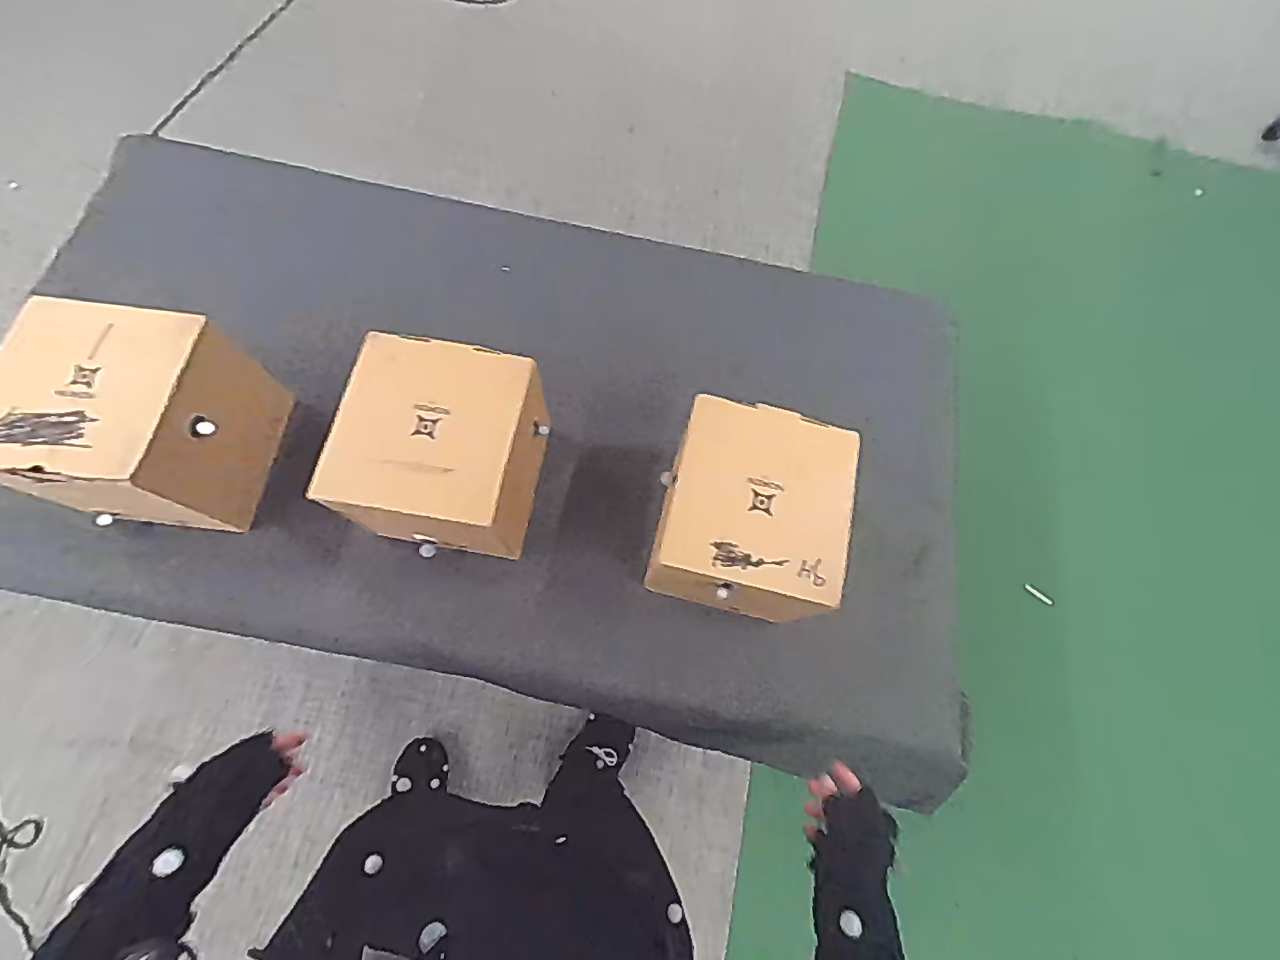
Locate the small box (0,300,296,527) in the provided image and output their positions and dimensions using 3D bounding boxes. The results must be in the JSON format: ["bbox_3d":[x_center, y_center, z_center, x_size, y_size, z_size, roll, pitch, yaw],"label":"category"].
[{"bbox_3d":[-0.505,-0.058,0.571,0.168,0.176,0.179,7,69,-2],"label":"small box"}]

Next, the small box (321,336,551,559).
[{"bbox_3d":[-0.197,-0.025,0.585,0.168,0.176,0.179,9,72,1],"label":"small box"}]

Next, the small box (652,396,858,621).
[{"bbox_3d":[0.112,0.041,0.580,0.168,0.176,0.179,14,70,2],"label":"small box"}]
